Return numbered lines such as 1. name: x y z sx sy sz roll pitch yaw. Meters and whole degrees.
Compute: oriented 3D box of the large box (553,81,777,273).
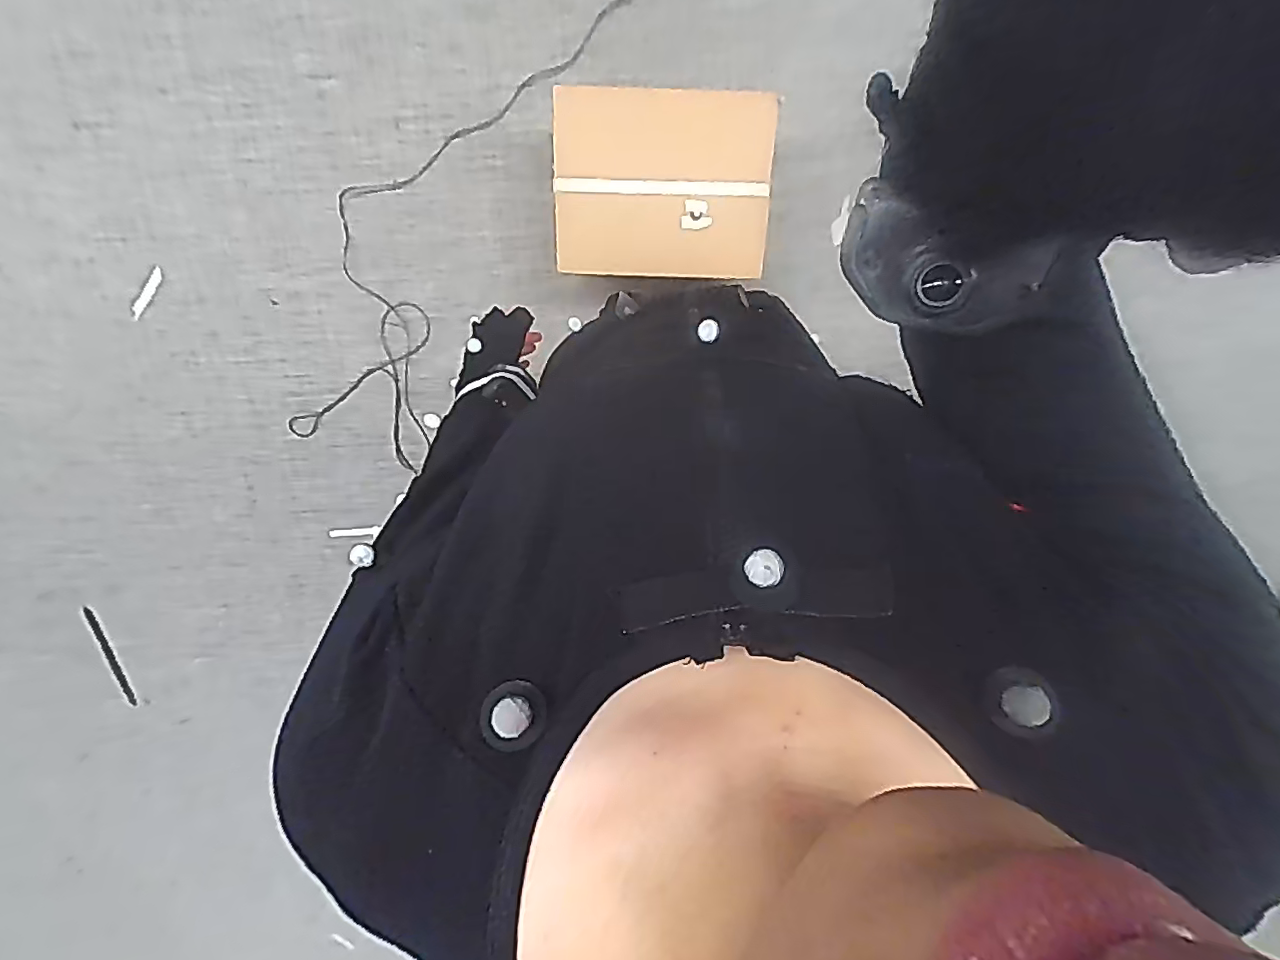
1. large box: 0.042 -0.607 1.143 0.408 0.320 0.320 1 111 -1
